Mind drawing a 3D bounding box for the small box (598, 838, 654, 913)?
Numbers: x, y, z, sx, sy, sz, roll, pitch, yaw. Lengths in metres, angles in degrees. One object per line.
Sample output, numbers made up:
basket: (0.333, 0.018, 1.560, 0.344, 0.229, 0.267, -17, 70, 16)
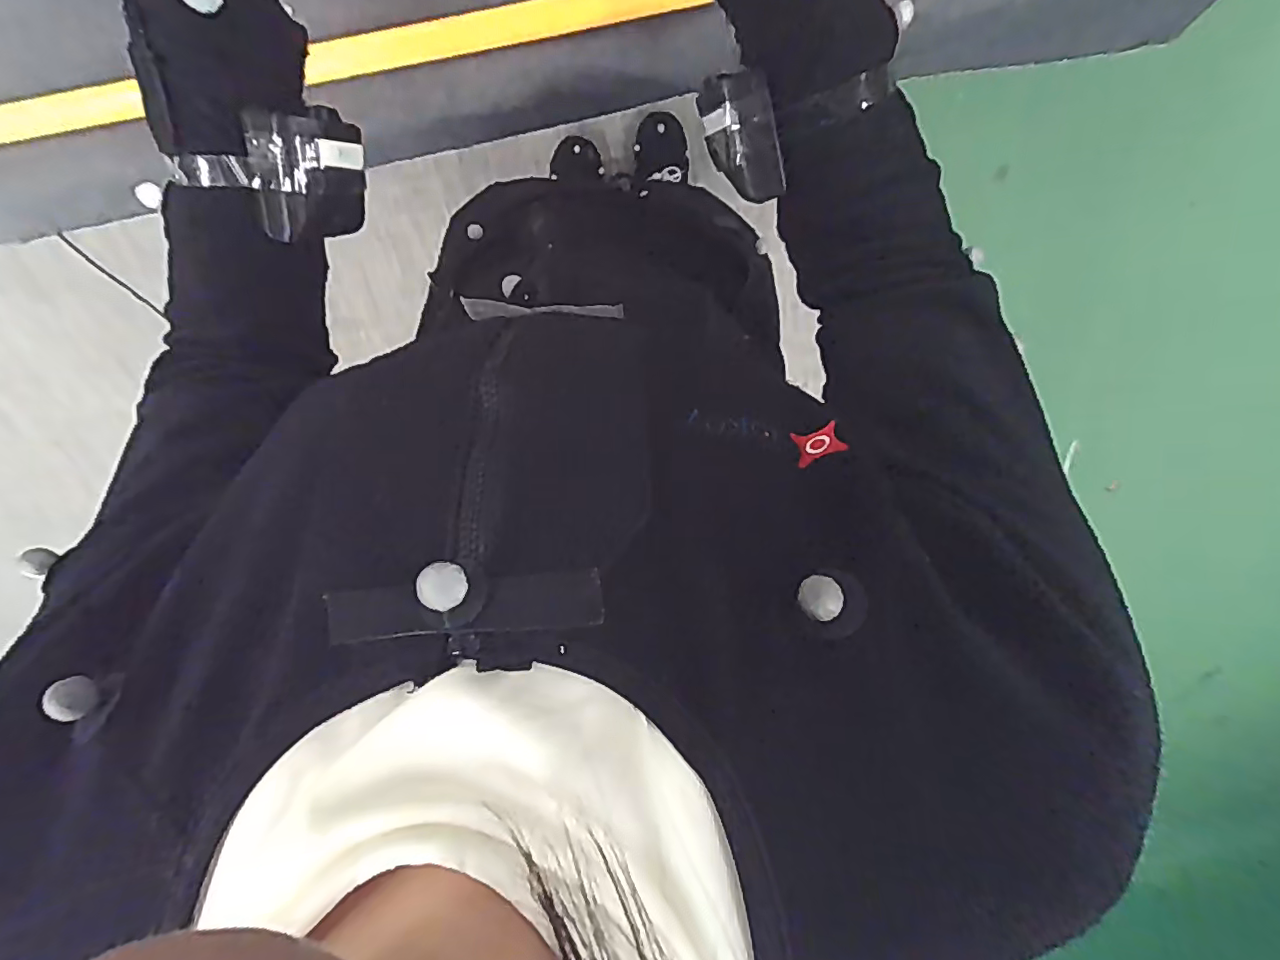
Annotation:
small box: (-0.051, 1.457, 1.994, 0.168, 0.176, 0.179, -16, 123, 6)
